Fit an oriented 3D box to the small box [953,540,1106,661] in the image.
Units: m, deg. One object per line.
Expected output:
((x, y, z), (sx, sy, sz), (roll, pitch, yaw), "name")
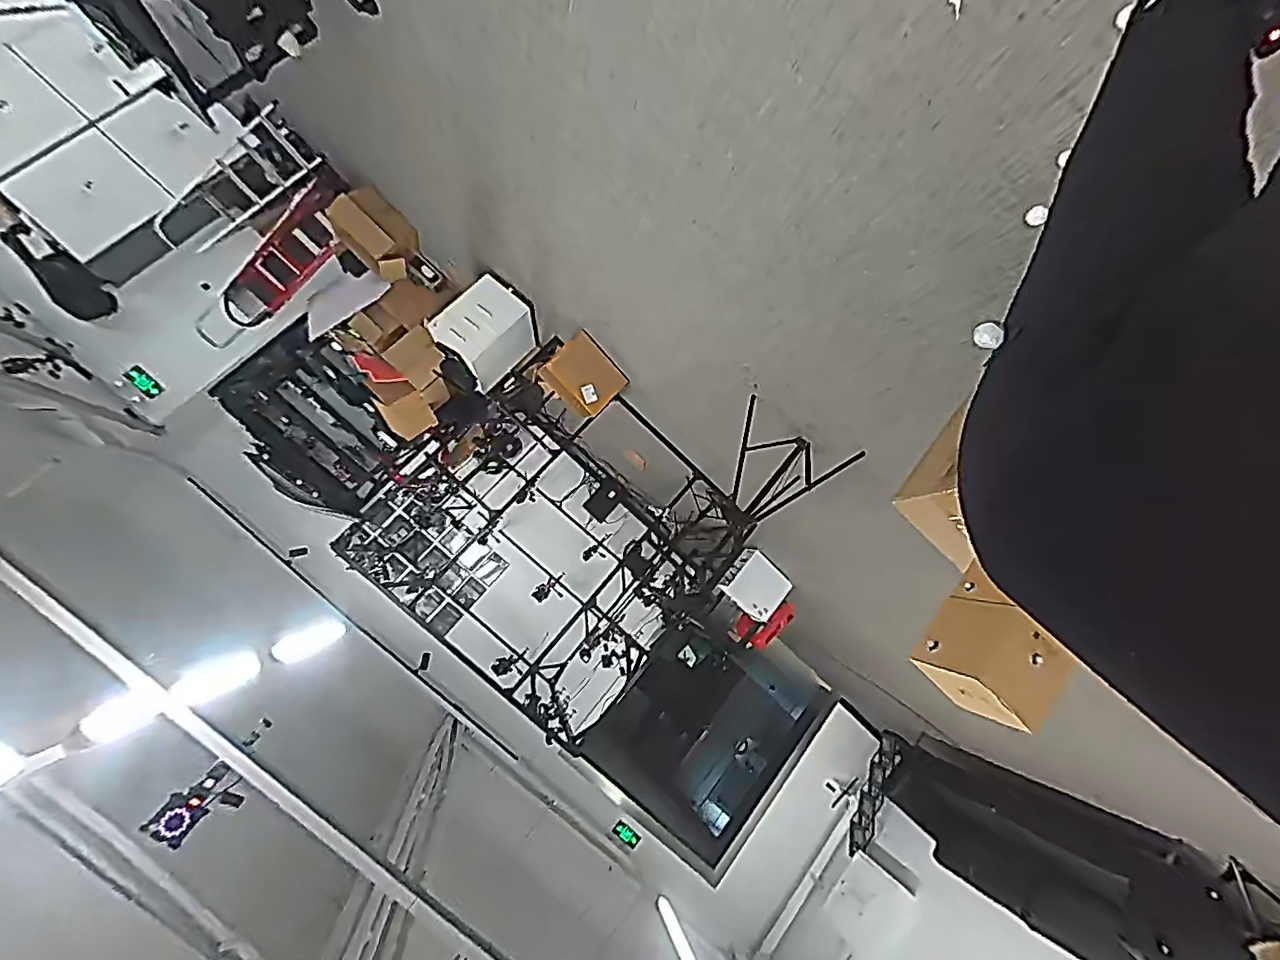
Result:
((0.796, 0.236, 1.102), (0.168, 0.176, 0.179), (43, 166, -6), "small box")

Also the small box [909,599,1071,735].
((0.687, 0.355, 1.067), (0.168, 0.176, 0.179), (43, 166, -8), "small box")
